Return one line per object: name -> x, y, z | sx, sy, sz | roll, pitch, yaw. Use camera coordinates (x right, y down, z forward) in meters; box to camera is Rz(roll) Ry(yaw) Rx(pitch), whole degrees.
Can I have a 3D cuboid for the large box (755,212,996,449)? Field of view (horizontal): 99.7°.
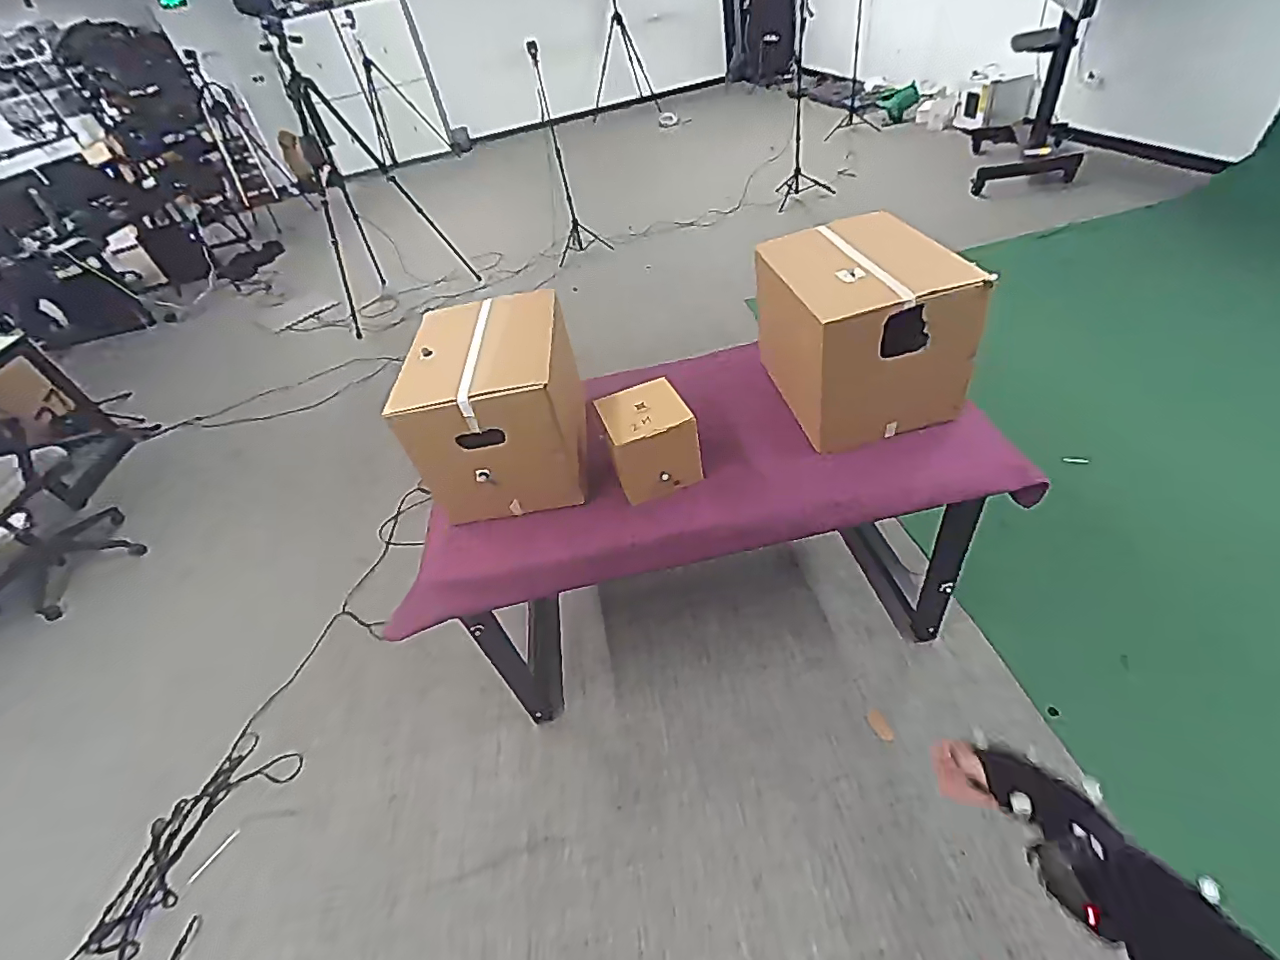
large box -> 0.469, -0.335, 1.186 | 0.320, 0.320, 0.408 | -15, 43, 2
